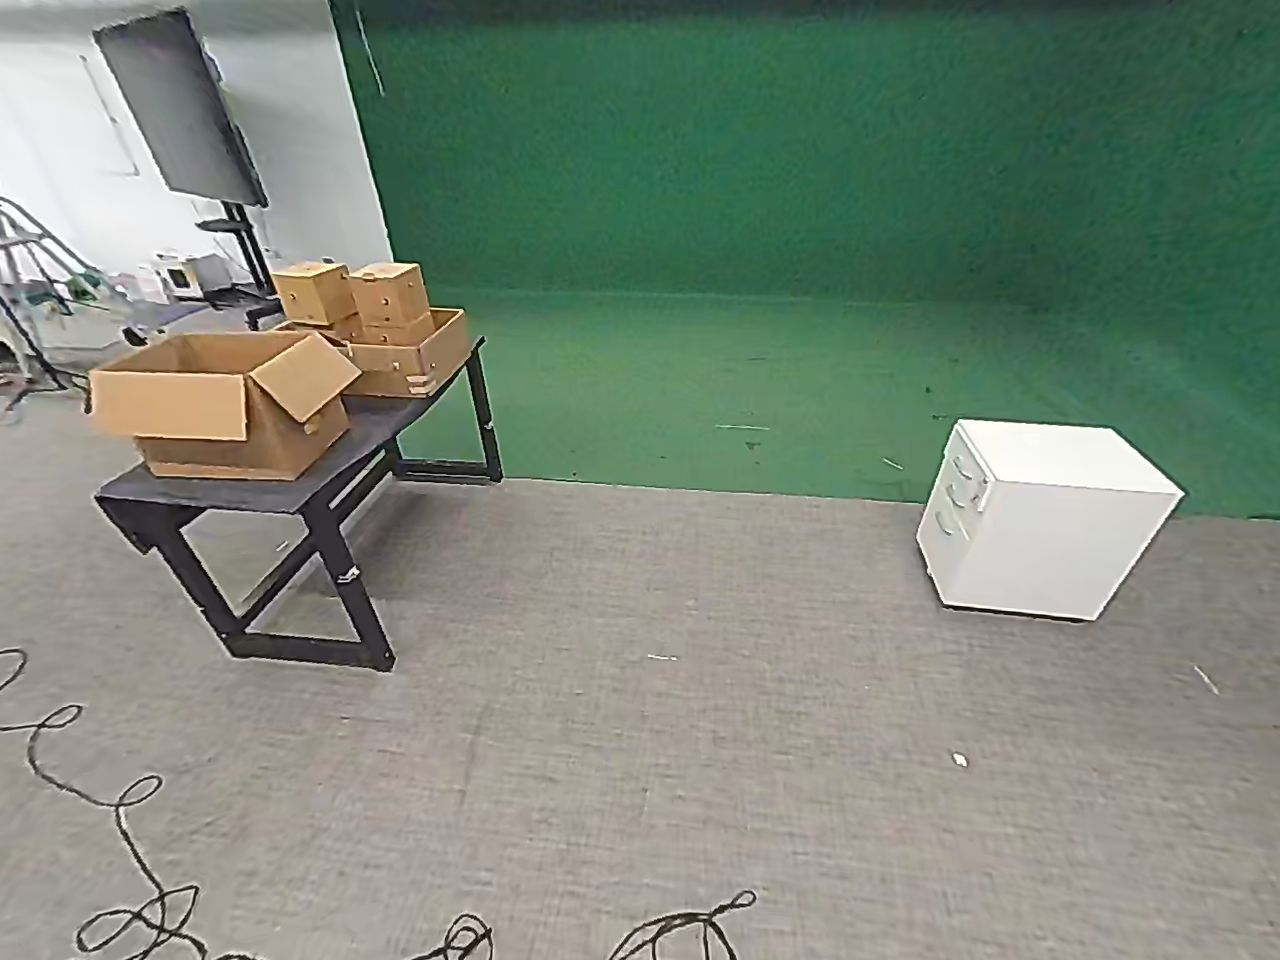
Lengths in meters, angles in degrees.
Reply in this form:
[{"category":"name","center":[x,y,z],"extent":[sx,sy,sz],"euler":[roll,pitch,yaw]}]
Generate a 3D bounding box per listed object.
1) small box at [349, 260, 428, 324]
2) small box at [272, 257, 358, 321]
[{"category":"small box","center":[-0.857,-0.650,1.866],"extent":[0.168,0.176,0.179],"euler":[7,36,8]},{"category":"small box","center":[-1.126,-0.668,1.892],"extent":[0.168,0.176,0.179],"euler":[9,36,12]}]
